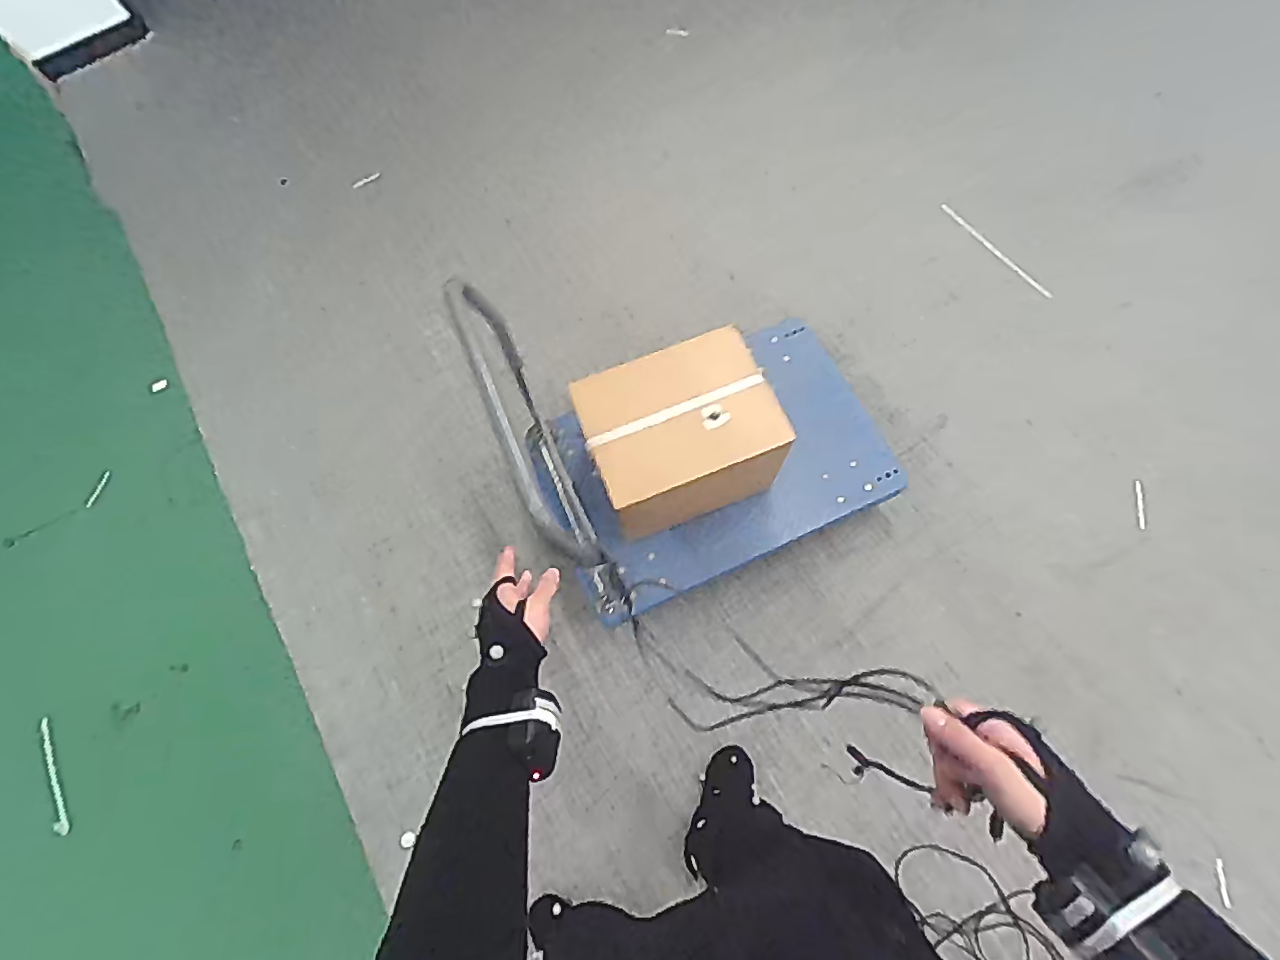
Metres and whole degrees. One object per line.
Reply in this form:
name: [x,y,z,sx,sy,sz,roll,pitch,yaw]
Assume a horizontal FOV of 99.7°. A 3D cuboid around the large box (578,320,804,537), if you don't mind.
large box: [0.107,-0.105,1.280,0.408,0.320,0.320,-20,71,-4]
